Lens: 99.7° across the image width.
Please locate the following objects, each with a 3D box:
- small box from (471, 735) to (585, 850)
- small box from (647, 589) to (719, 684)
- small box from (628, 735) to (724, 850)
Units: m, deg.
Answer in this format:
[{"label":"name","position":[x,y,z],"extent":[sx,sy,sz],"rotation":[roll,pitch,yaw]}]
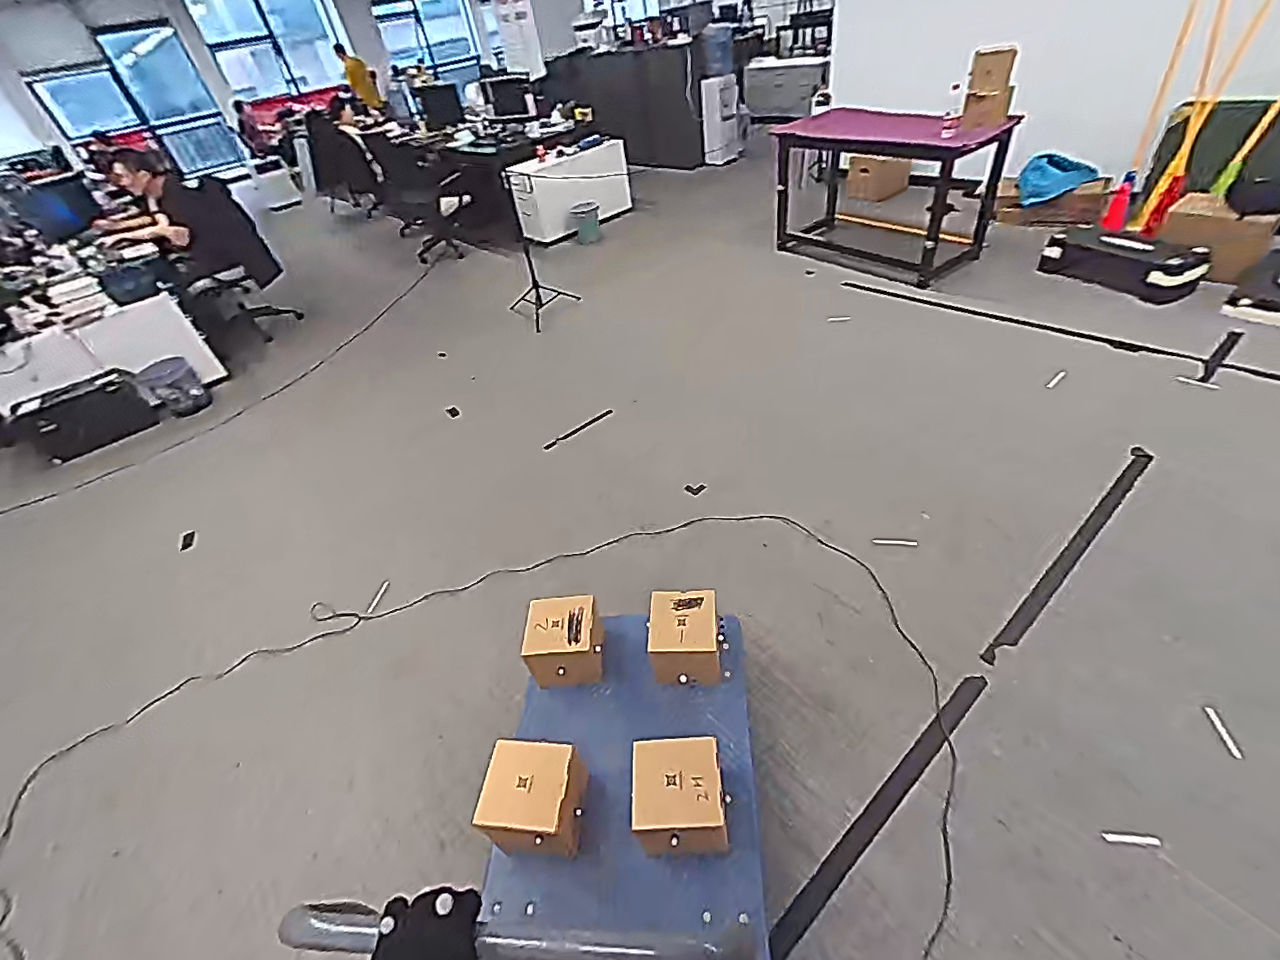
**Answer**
[{"label":"small box","position":[-0.230,0.671,1.161],"extent":[0.179,0.176,0.168],"rotation":[0,42,9]},{"label":"small box","position":[0.115,0.402,1.392],"extent":[0.168,0.176,0.179],"rotation":[-2,43,9]},{"label":"small box","position":[0.077,0.650,1.121],"extent":[0.179,0.176,0.168],"rotation":[-5,42,6]}]
